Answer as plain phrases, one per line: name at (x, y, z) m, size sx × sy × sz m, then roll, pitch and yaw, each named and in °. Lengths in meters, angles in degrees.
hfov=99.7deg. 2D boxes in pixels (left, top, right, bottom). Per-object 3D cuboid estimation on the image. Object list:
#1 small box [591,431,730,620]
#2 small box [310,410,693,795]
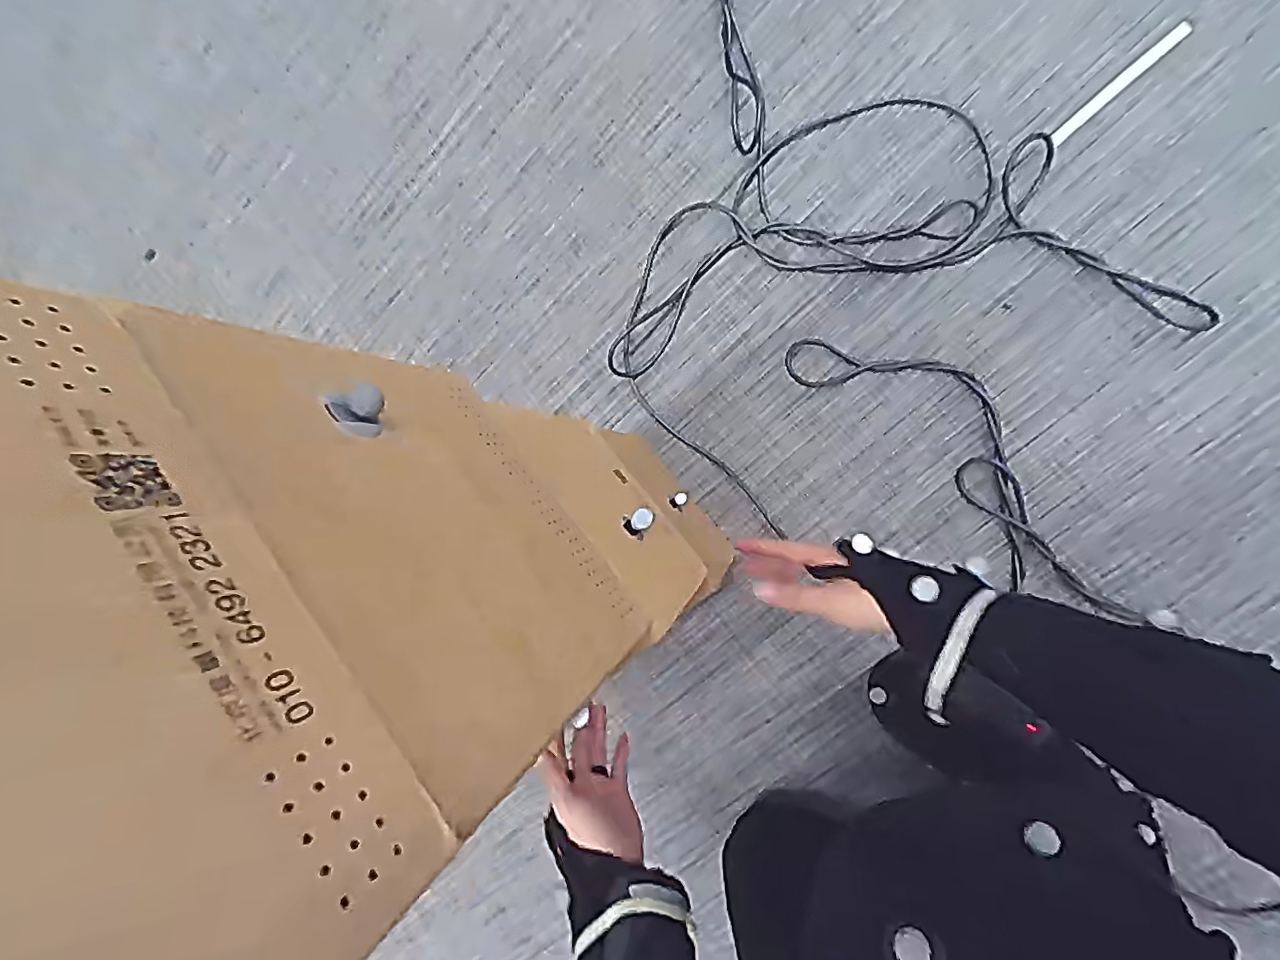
small box at (-0.029, 0.071, 0.547) m, size 0.168 × 0.176 × 0.179 m, roll -41°, pitch 83°, yaw 14°
small box at (-0.078, 0.069, 0.392) m, size 0.179 × 0.176 × 0.168 m, roll -42°, pitch 82°, yaw 14°
